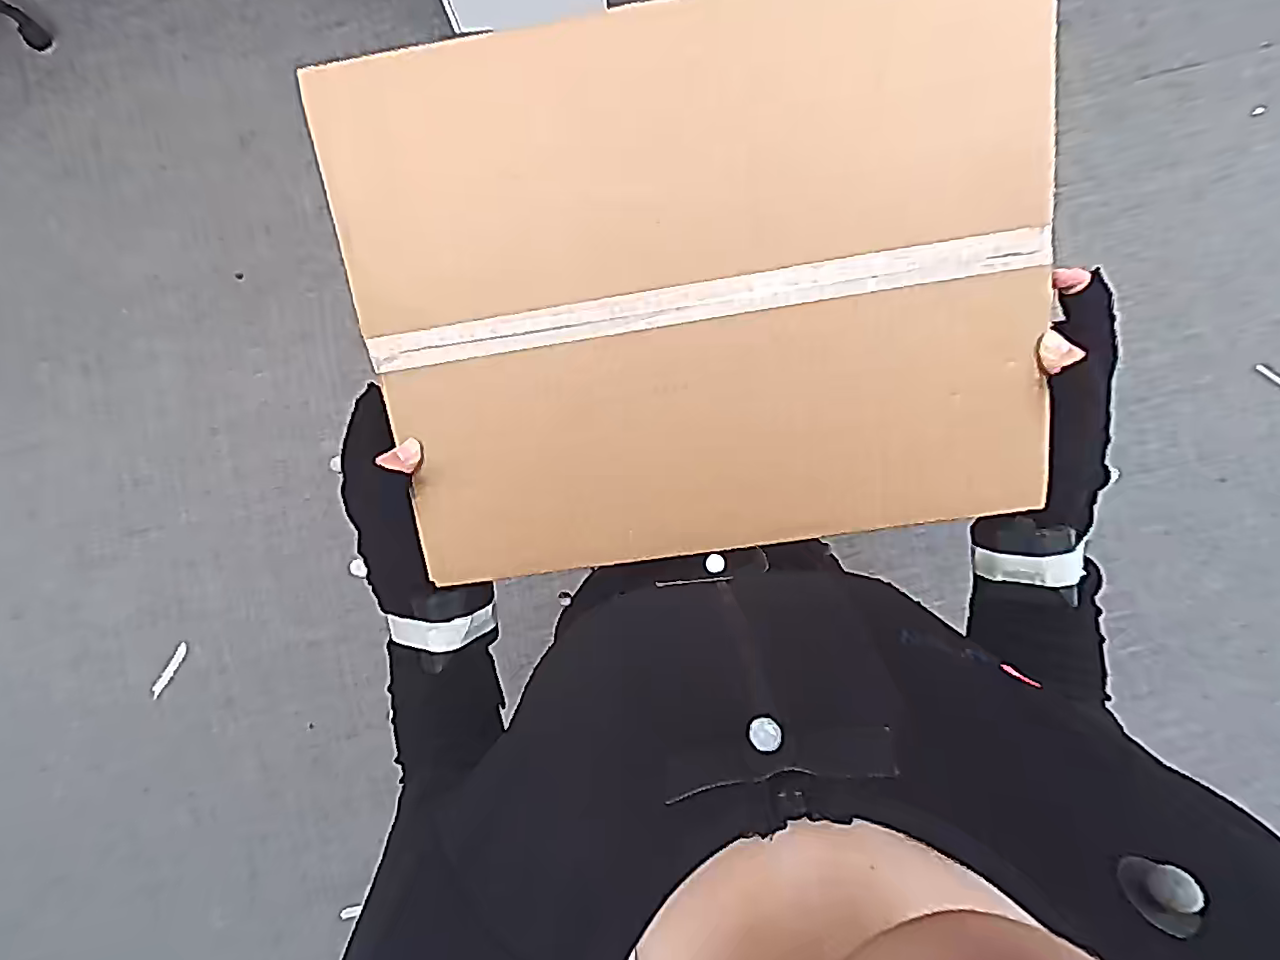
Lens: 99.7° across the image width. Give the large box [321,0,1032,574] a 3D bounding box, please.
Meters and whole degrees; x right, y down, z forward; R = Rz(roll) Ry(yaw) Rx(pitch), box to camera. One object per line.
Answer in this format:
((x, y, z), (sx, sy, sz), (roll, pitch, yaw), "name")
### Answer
((0.035, -0.144, 0.476), (0.408, 0.320, 0.320), (-8, 104, 3), "large box")
